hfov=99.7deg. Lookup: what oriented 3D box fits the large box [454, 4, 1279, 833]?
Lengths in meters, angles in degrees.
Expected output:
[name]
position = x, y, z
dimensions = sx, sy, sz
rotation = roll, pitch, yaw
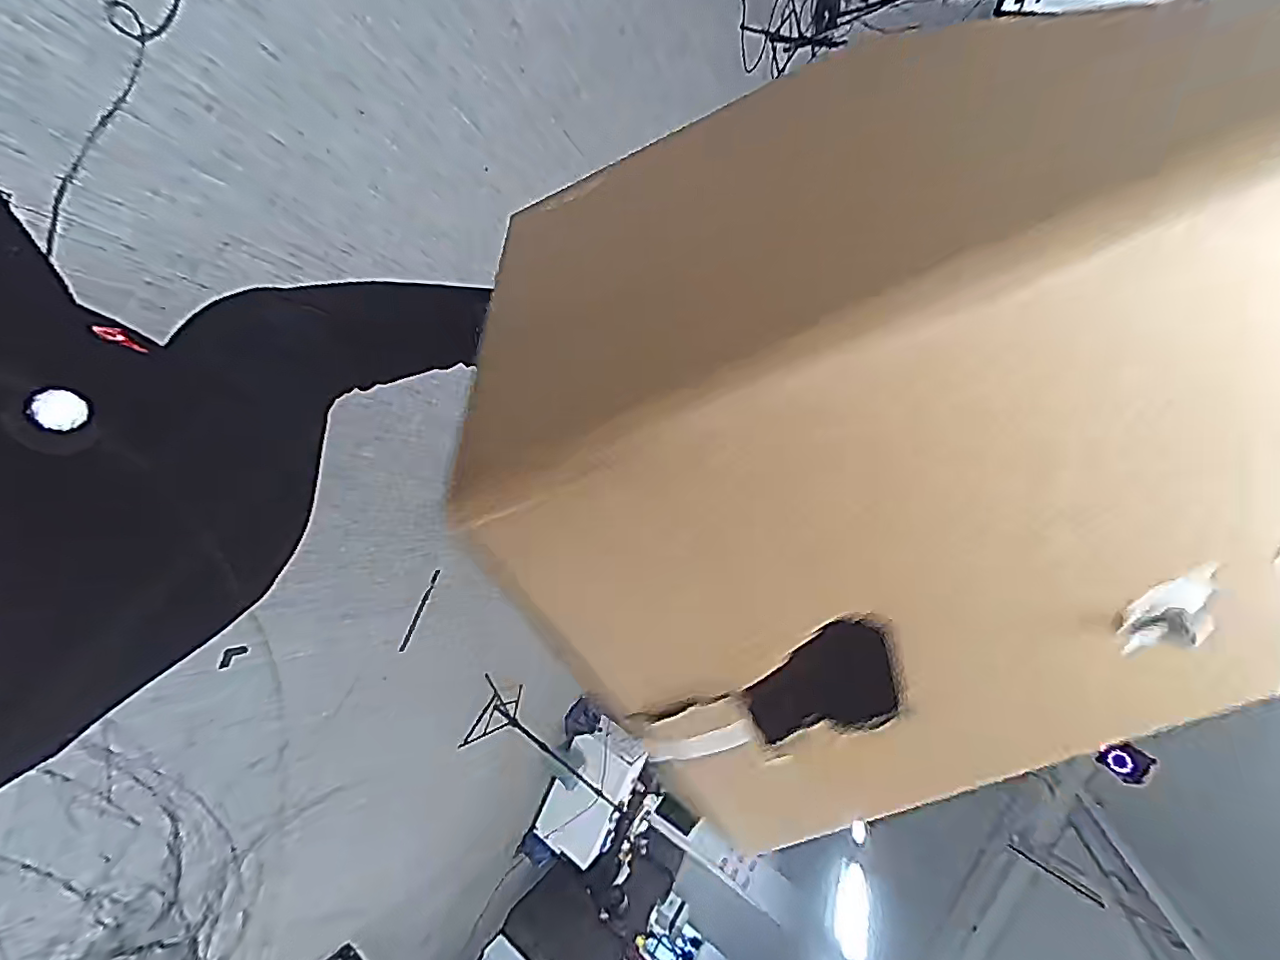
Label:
[large box]
position = 0.113, -0.060, 0.385
dimensions = 0.320, 0.408, 0.320
rotation = -22, 126, 6
